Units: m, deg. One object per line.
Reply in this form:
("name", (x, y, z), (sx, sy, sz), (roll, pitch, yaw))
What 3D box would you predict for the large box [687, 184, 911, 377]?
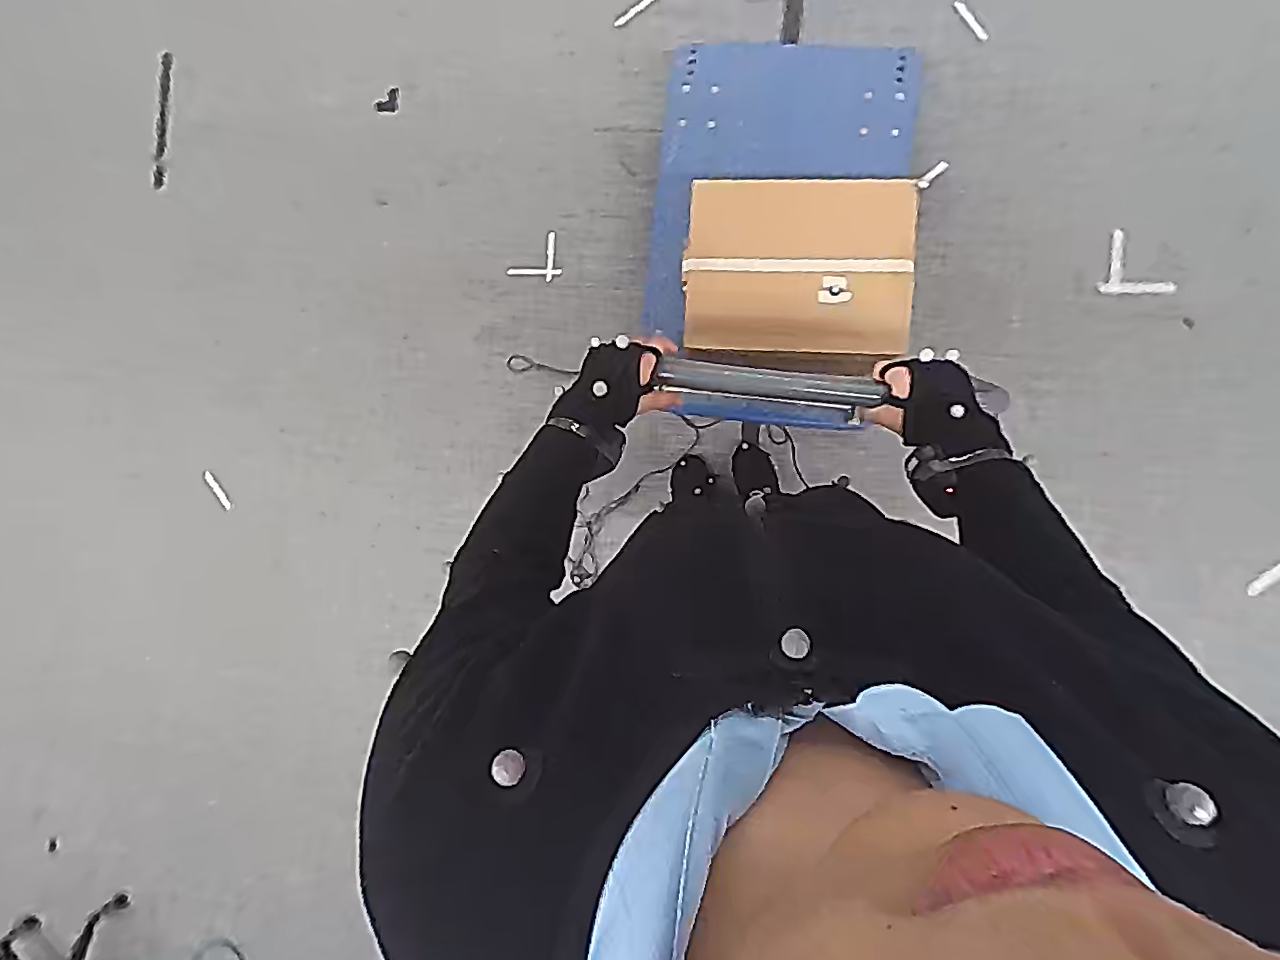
("large box", (0.304, -0.398, 1.154), (0.408, 0.320, 0.320), (3, 93, 5))
